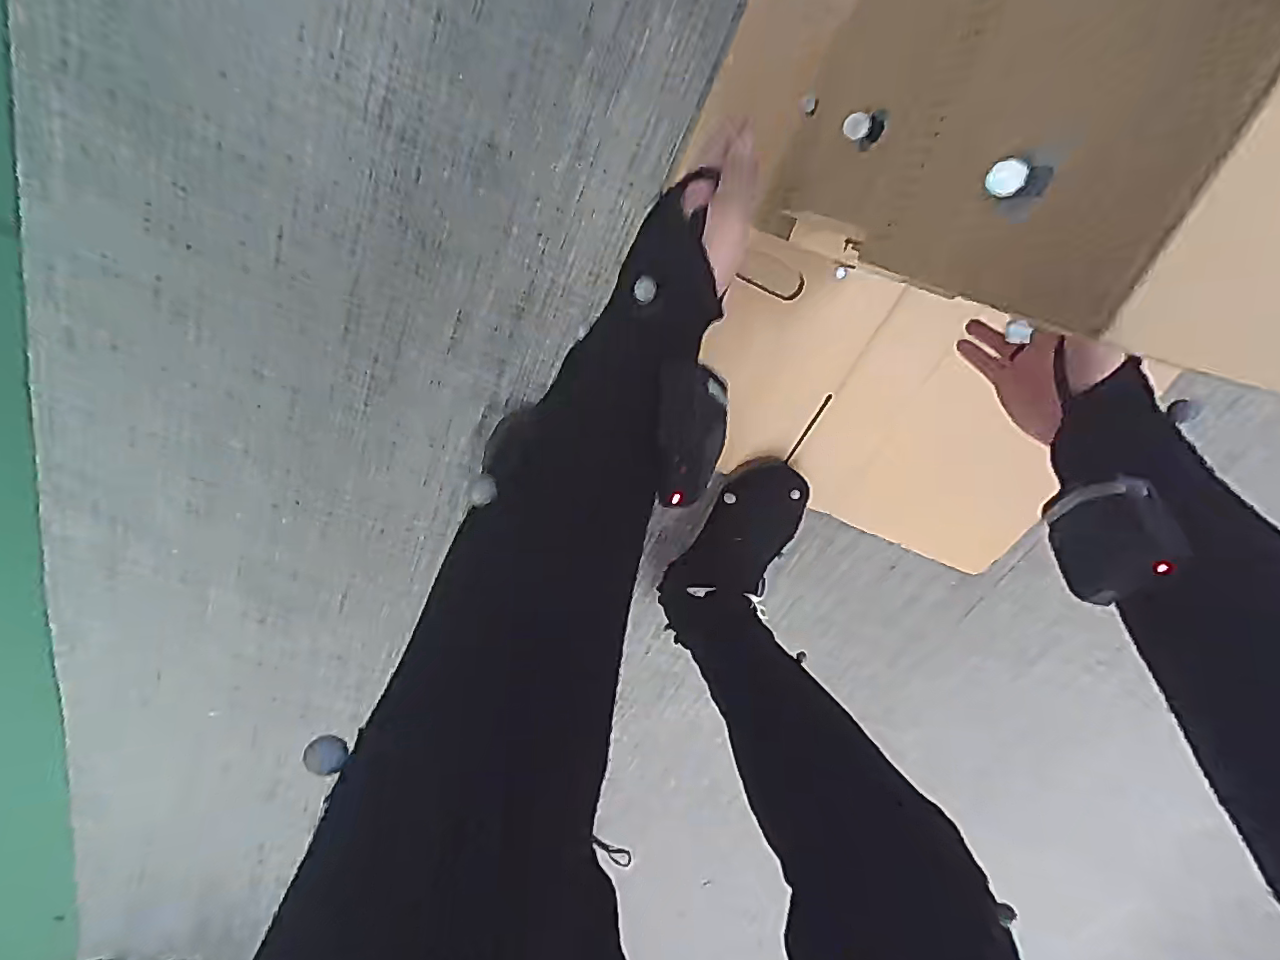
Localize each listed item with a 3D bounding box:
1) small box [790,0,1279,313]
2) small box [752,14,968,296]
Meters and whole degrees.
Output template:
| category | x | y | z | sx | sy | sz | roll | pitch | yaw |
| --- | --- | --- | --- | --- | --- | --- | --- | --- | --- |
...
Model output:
| category | x | y | z | sx | sy | sz | roll | pitch | yaw |
| --- | --- | --- | --- | --- | --- | --- | --- | --- | --- |
| small box | 0.212 | -0.227 | 0.329 | 0.168 | 0.176 | 0.179 | 14 | 117 | -12 |
| small box | 0.217 | -0.288 | 0.483 | 0.168 | 0.176 | 0.179 | 14 | 117 | -10 |
